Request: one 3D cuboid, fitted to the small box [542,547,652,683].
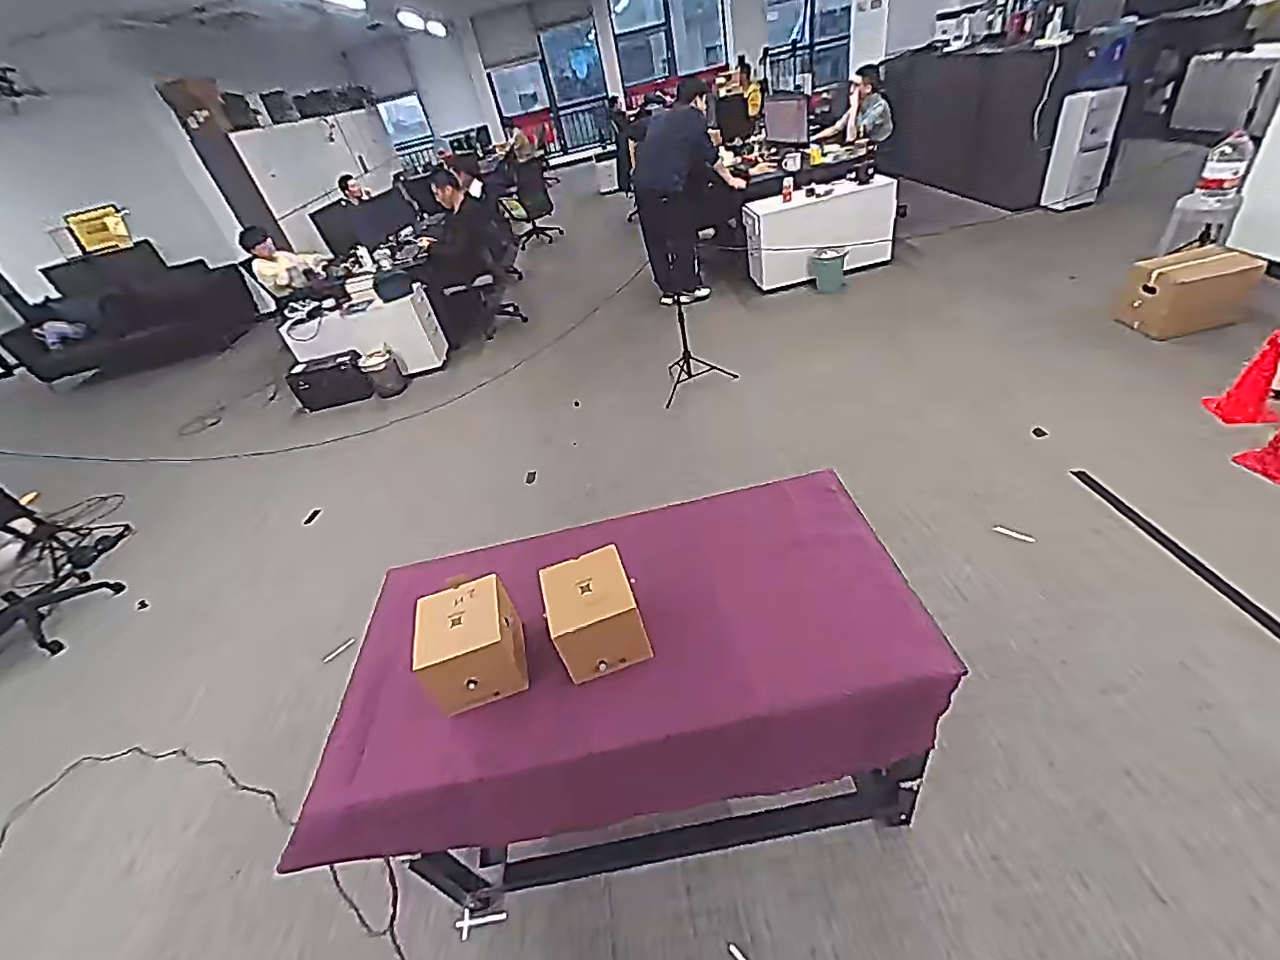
[{"bbox_3d":[-0.087,0.271,1.090,0.168,0.176,0.179,-19,38,-5],"label":"small box"}]

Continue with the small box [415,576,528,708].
[{"bbox_3d":[-0.333,0.332,1.090,0.168,0.176,0.179,-18,37,-5],"label":"small box"}]
